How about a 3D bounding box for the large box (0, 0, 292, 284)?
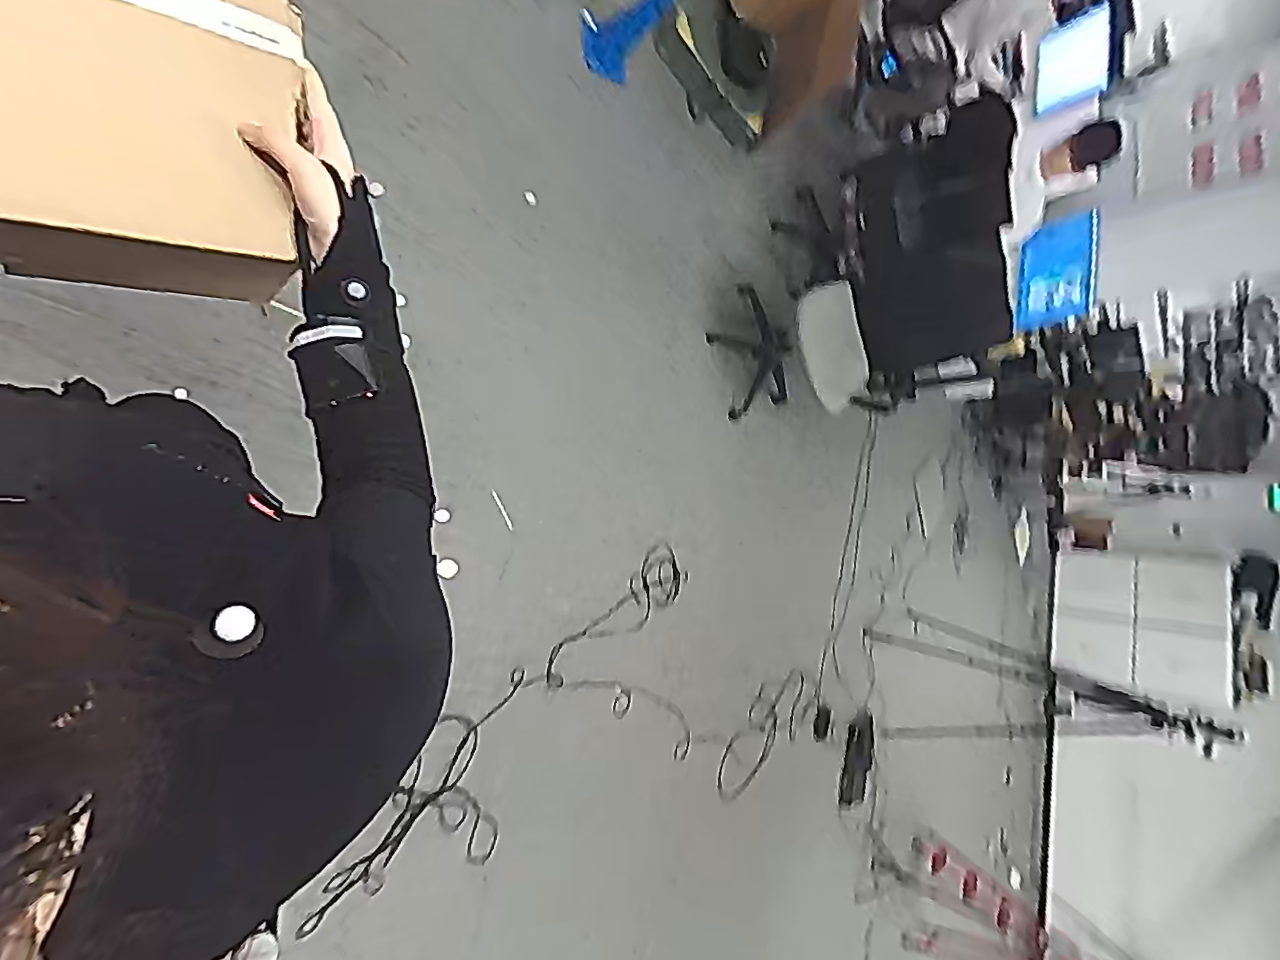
[{"bbox_3d":[-0.529,-0.344,0.414,0.408,0.320,0.320,-6,103,-37],"label":"large box"}]
